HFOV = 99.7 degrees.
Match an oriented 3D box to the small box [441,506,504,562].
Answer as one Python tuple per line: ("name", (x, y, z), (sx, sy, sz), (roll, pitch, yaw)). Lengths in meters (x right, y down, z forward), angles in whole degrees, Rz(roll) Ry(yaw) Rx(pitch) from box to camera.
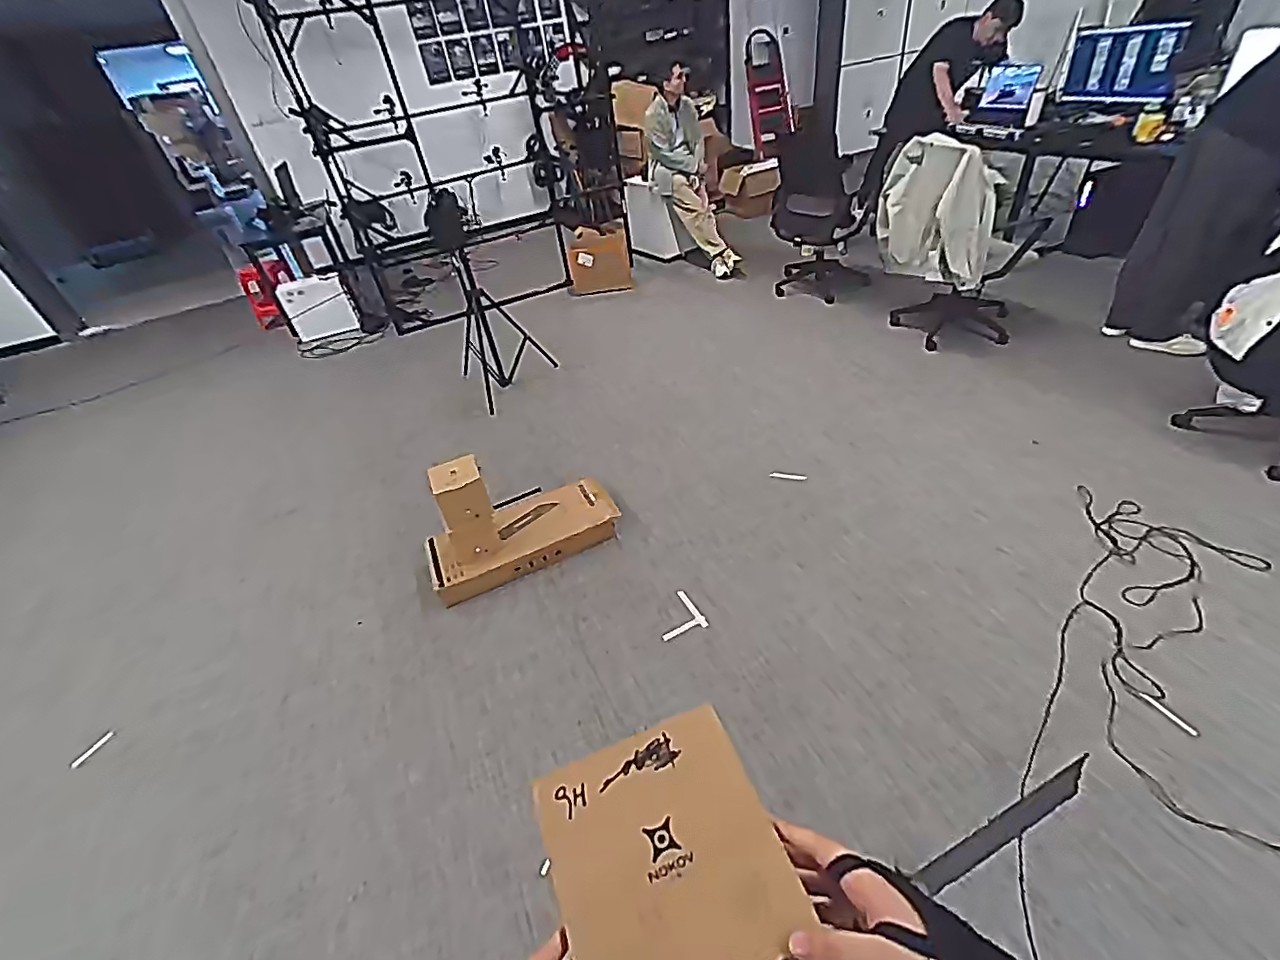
("small box", (-0.634, 0.177, 2.049), (0.168, 0.176, 0.179), (-23, 41, -16))

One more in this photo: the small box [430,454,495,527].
("small box", (-0.641, 0.039, 1.956), (0.168, 0.176, 0.179), (-22, 40, -15))
